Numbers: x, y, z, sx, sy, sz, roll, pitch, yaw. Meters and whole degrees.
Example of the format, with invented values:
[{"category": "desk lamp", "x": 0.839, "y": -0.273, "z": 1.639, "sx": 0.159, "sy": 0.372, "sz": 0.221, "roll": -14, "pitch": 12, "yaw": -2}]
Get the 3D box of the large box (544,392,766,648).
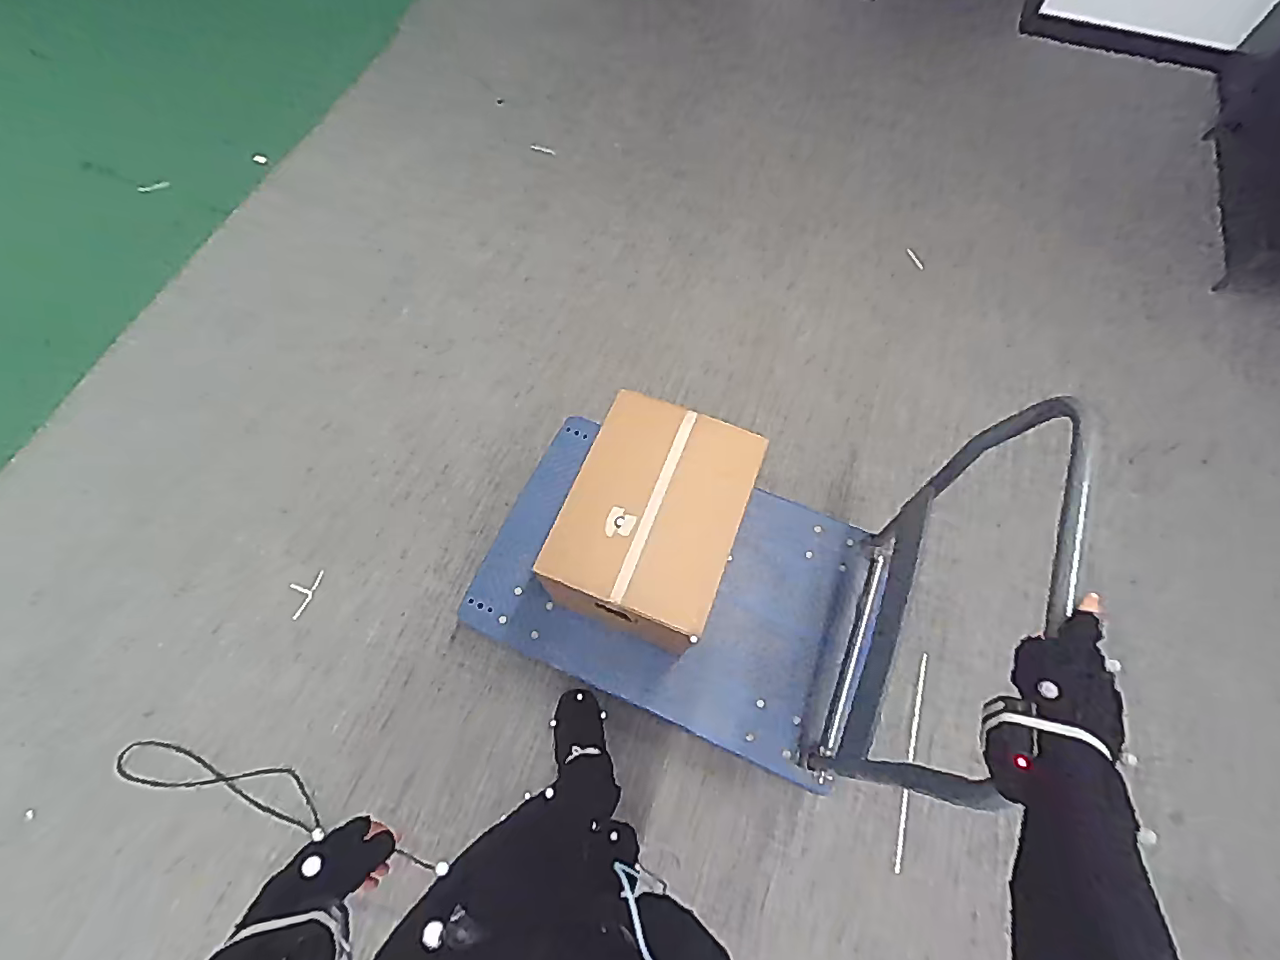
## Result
[{"category": "large box", "x": 0.036, "y": 0.095, "z": 1.138, "sx": 0.320, "sy": 0.320, "sz": 0.408, "roll": 20, "pitch": 69, "yaw": 8}]
